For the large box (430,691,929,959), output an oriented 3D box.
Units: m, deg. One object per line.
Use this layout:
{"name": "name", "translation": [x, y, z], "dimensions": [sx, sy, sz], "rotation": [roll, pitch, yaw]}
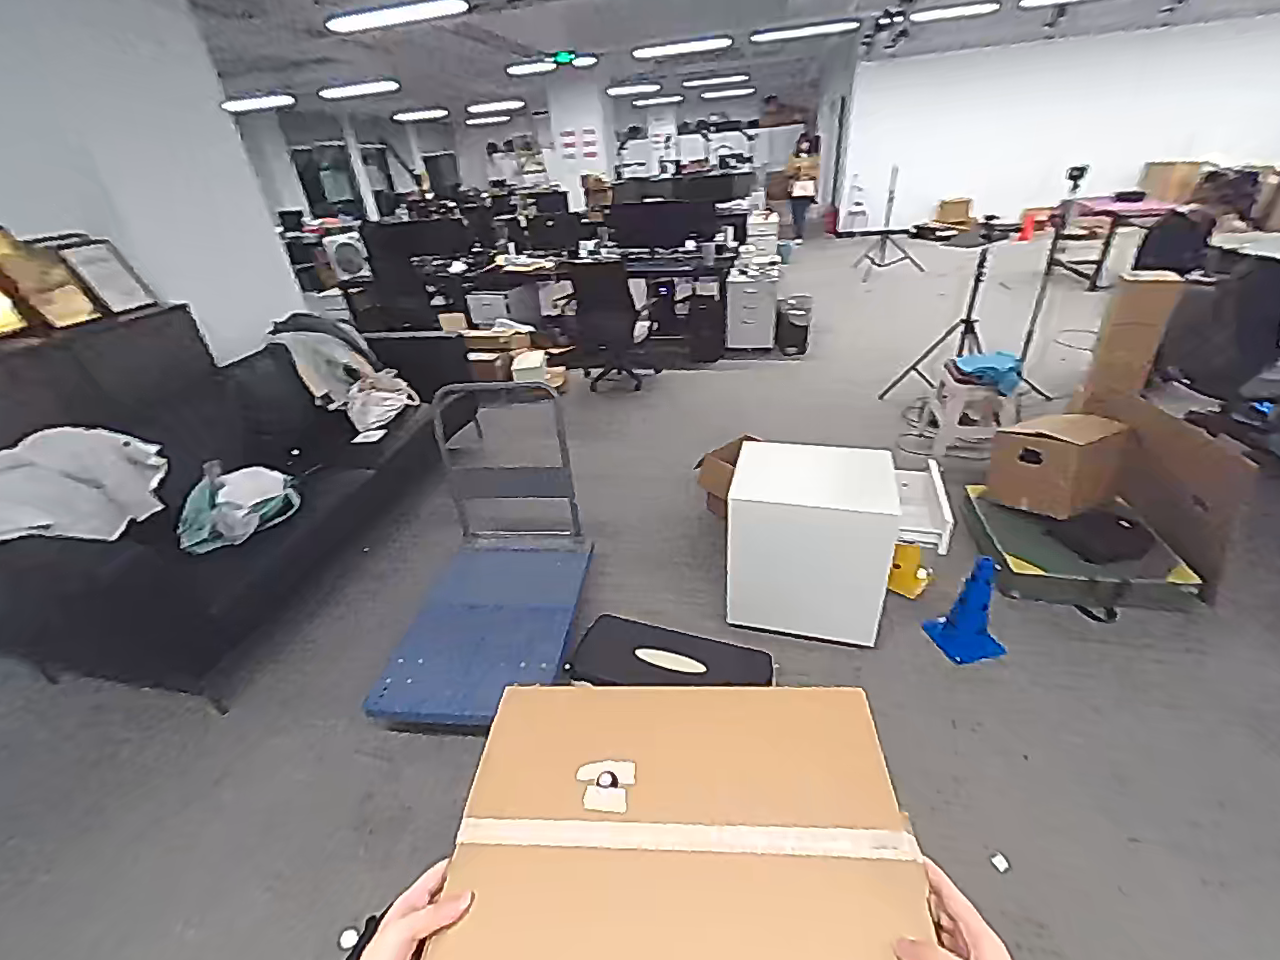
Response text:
{"name": "large box", "translation": [0.049, 0.455, 0.577], "dimensions": [0.408, 0.320, 0.320], "rotation": [-4, 34, 8]}
